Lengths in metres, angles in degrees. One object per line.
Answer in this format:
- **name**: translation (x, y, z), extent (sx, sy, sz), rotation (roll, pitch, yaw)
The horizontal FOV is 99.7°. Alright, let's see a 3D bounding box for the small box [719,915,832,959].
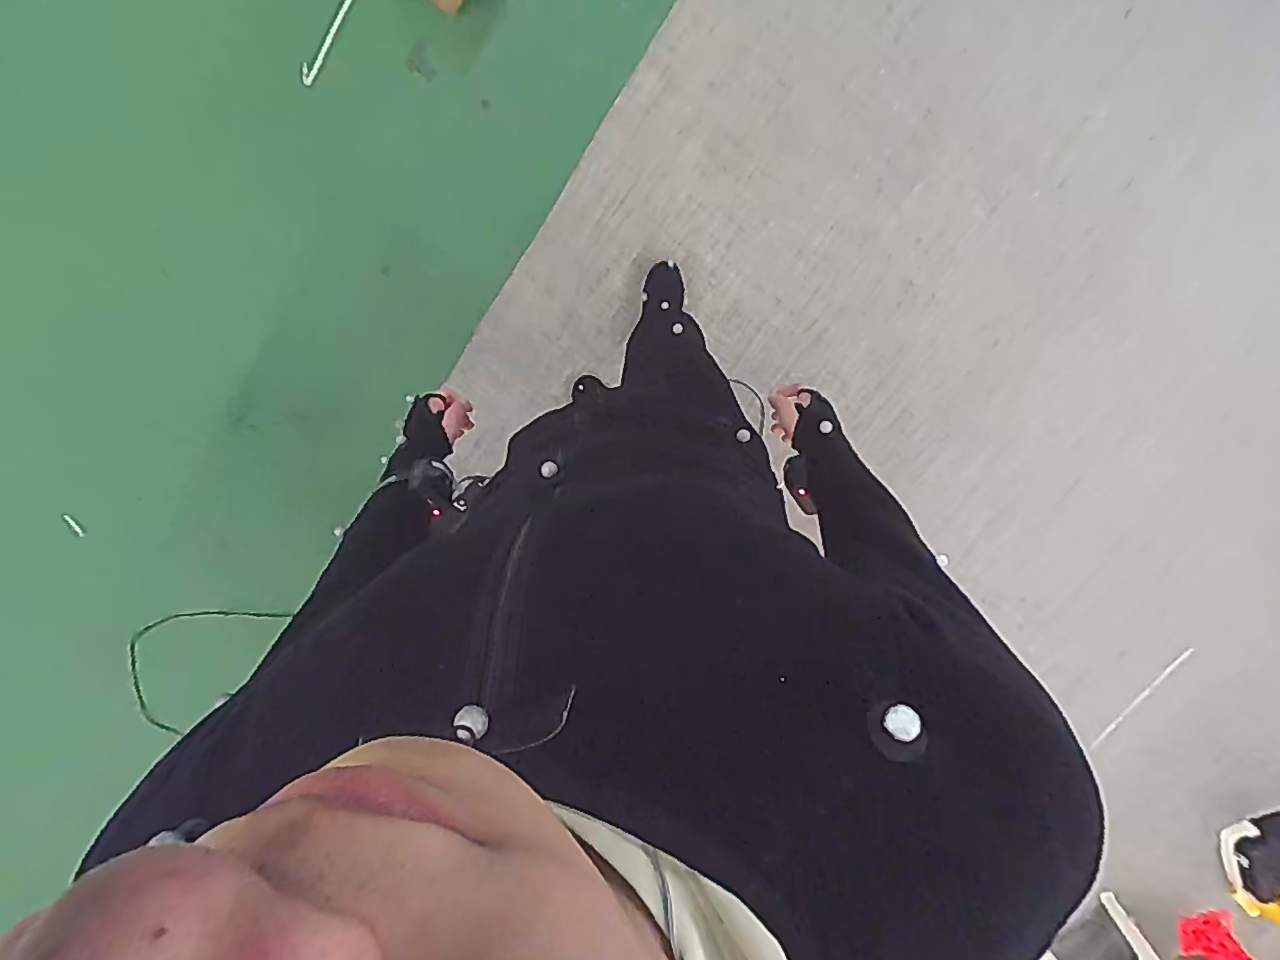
- **small box**: translation (0.225, 0.859, 0.860), extent (0.168, 0.176, 0.179), rotation (32, 101, -9)

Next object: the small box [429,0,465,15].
- **small box**: translation (-0.478, -1.224, 1.224), extent (0.179, 0.176, 0.168), rotation (36, 101, -10)
